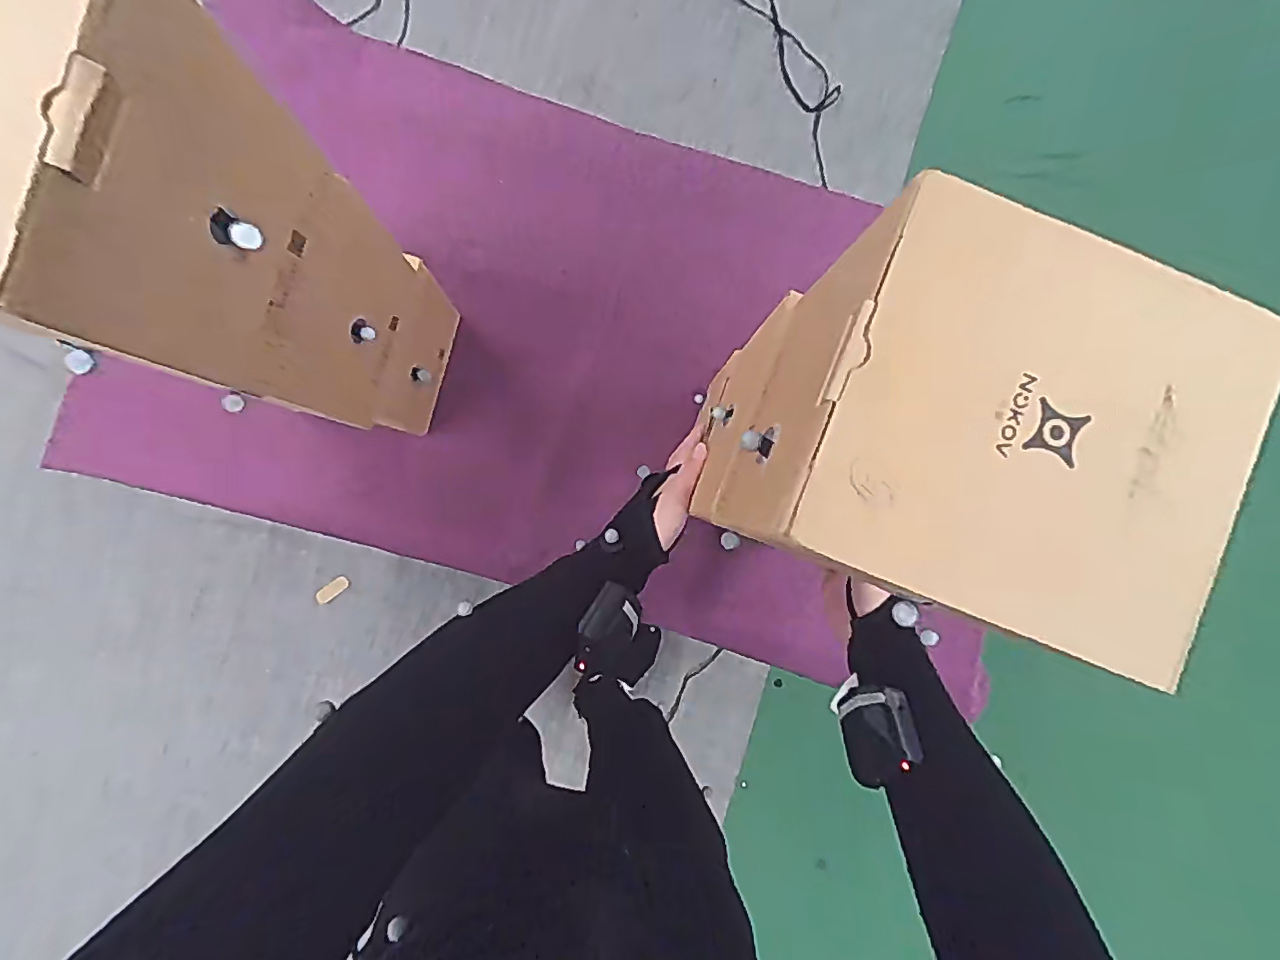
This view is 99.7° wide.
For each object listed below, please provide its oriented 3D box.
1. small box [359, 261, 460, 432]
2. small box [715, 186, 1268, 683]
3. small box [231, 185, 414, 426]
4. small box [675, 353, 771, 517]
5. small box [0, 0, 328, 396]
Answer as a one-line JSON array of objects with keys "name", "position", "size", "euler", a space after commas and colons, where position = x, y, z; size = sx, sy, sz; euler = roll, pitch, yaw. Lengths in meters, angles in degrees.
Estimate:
[{"name": "small box", "position": [-0.328, -0.157, 0.626], "size": [0.179, 0.176, 0.168], "euler": [14, 87, -2]}, {"name": "small box", "position": [0.157, -0.017, 0.307], "size": [0.179, 0.176, 0.168], "euler": [22, 88, -1]}, {"name": "small box", "position": [-0.321, -0.151, 0.460], "size": [0.179, 0.176, 0.168], "euler": [16, 86, -2]}, {"name": "small box", "position": [0.149, -0.024, 0.635], "size": [0.179, 0.176, 0.168], "euler": [20, 88, -1]}, {"name": "small box", "position": [-0.312, -0.154, 0.297], "size": [0.179, 0.176, 0.168], "euler": [15, 86, -3]}]
